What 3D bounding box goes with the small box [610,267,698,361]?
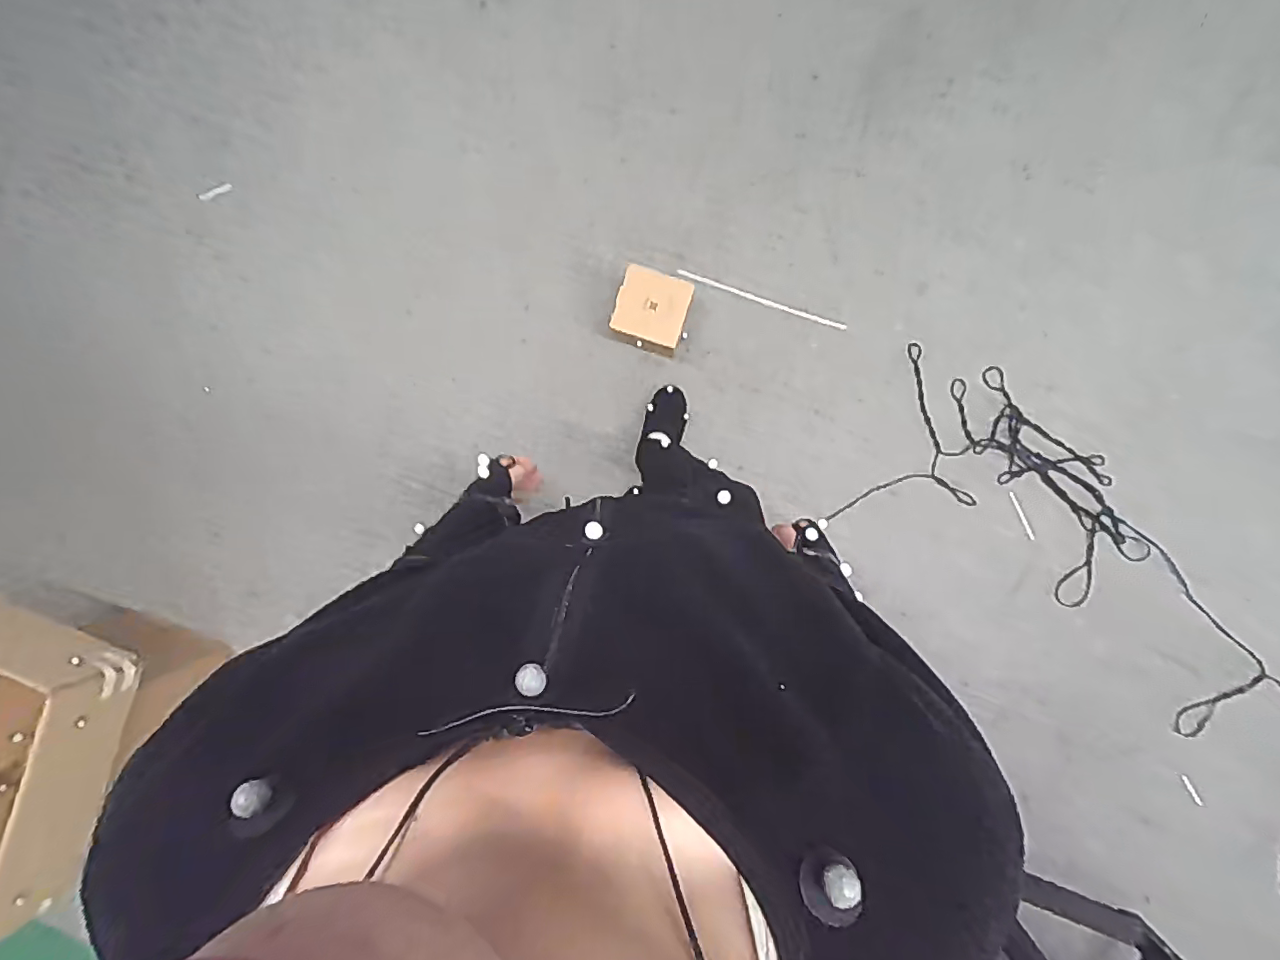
[{"bbox_3d":[0.038,-0.420,1.397,0.179,0.176,0.168,19,94,2],"label":"small box"}]
